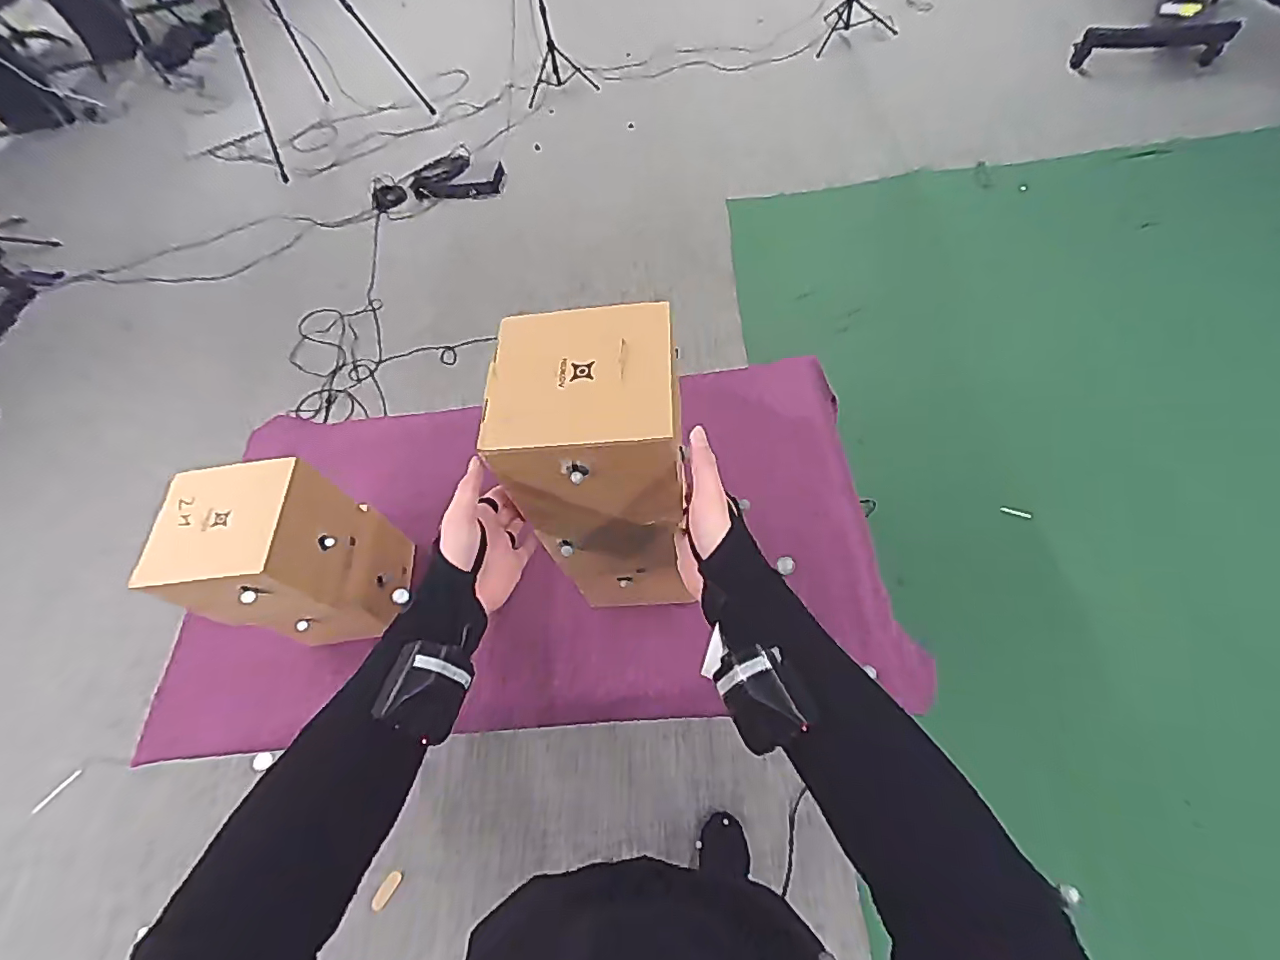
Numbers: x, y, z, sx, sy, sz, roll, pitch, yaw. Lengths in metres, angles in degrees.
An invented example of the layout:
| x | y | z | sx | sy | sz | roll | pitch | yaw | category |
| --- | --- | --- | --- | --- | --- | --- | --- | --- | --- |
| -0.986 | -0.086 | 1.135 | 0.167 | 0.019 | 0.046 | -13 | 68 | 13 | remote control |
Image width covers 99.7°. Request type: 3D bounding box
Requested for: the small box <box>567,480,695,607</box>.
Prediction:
| x | y | z | sx | sy | sz | roll | pitch | yaw | category |
| --- | --- | --- | --- | --- | --- | --- | --- | --- | --- |
| -0.008 | 0.097 | 0.860 | 0.179 | 0.176 | 0.168 | -4 | 59 | 5 | small box |

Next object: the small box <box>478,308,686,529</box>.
| x | y | z | sx | sy | sz | roll | pitch | yaw | category |
| --- | --- | --- | --- | --- | --- | --- | --- | --- | --- |
| -0.045 | -0.055 | 0.572 | 0.179 | 0.176 | 0.168 | -3 | 60 | 7 | small box |

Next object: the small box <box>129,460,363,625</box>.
| x | y | z | sx | sy | sz | roll | pitch | yaw | category |
| --- | --- | --- | --- | --- | --- | --- | --- | --- | --- |
| -0.517 | 0.092 | 0.744 | 0.179 | 0.176 | 0.168 | -7 | 58 | 4 | small box |

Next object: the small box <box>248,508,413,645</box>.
| x | y | z | sx | sy | sz | roll | pitch | yaw | category |
| --- | --- | --- | --- | --- | --- | --- | --- | --- | --- |
| -0.501 | 0.164 | 0.893 | 0.179 | 0.176 | 0.168 | -9 | 59 | 4 | small box |
